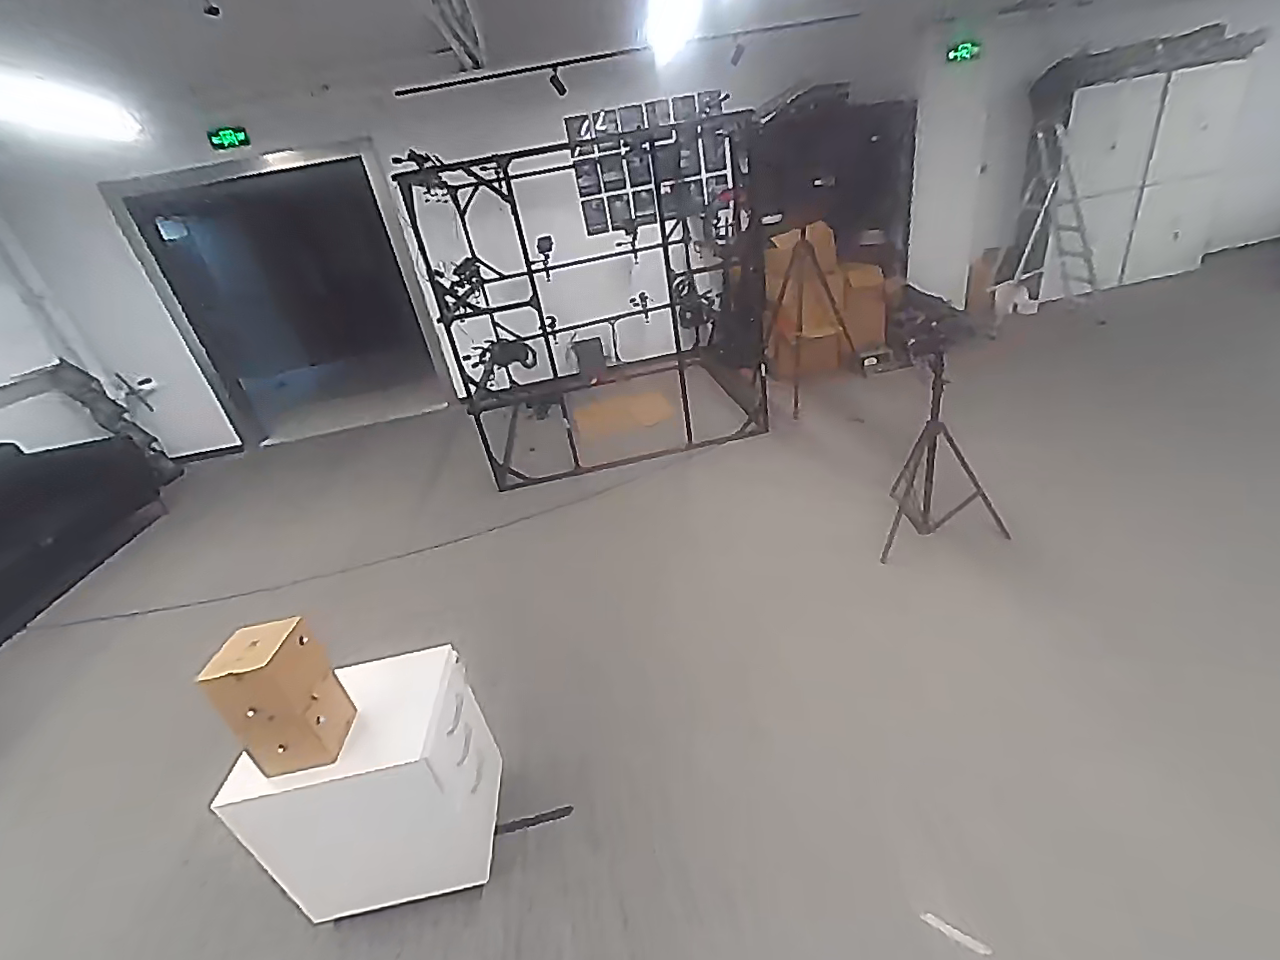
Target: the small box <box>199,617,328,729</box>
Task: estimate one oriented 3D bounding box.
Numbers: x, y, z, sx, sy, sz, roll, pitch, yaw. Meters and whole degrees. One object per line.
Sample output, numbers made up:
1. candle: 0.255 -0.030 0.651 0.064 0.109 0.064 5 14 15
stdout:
1. small box: -0.889 0.463 1.303 0.168 0.176 0.179 -12 27 1
